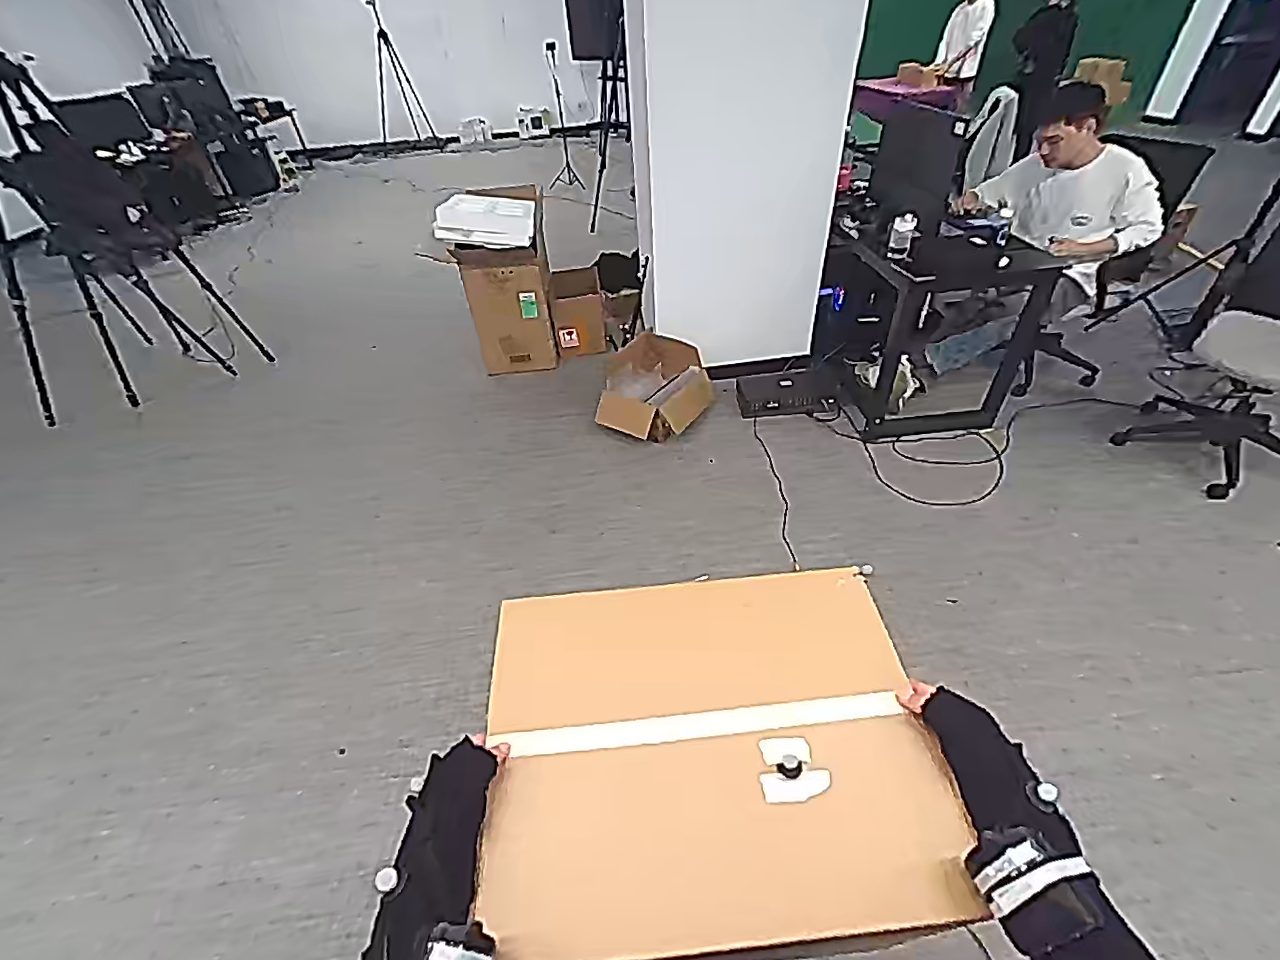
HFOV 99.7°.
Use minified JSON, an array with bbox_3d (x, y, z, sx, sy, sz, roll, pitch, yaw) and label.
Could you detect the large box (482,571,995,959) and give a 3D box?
[{"bbox_3d":[0.068,0.336,0.613,0.408,0.320,0.320,-5,46,-2],"label":"large box"}]
